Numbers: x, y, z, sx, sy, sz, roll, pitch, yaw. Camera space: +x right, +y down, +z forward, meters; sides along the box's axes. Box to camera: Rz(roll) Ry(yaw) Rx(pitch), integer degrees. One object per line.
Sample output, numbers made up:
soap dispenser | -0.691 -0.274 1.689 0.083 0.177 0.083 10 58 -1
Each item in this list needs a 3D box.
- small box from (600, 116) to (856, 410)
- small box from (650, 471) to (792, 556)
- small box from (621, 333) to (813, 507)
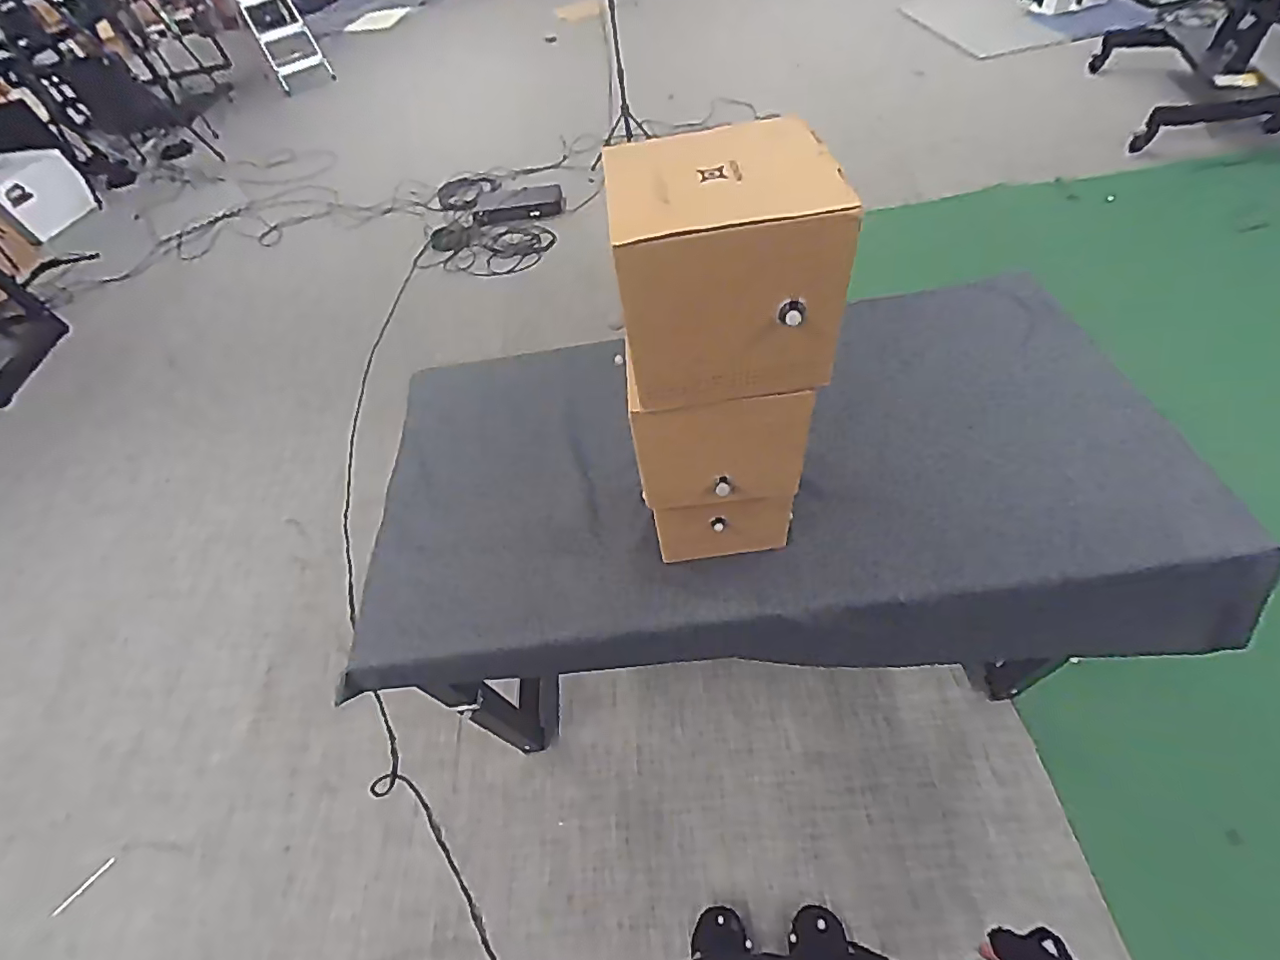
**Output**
small box | 0.067 -0.185 0.482 0.179 0.176 0.168 -9 52 4
small box | 0.100 -0.010 0.755 0.179 0.176 0.168 -8 53 4
small box | 0.079 -0.087 0.614 0.179 0.176 0.168 -9 54 3
